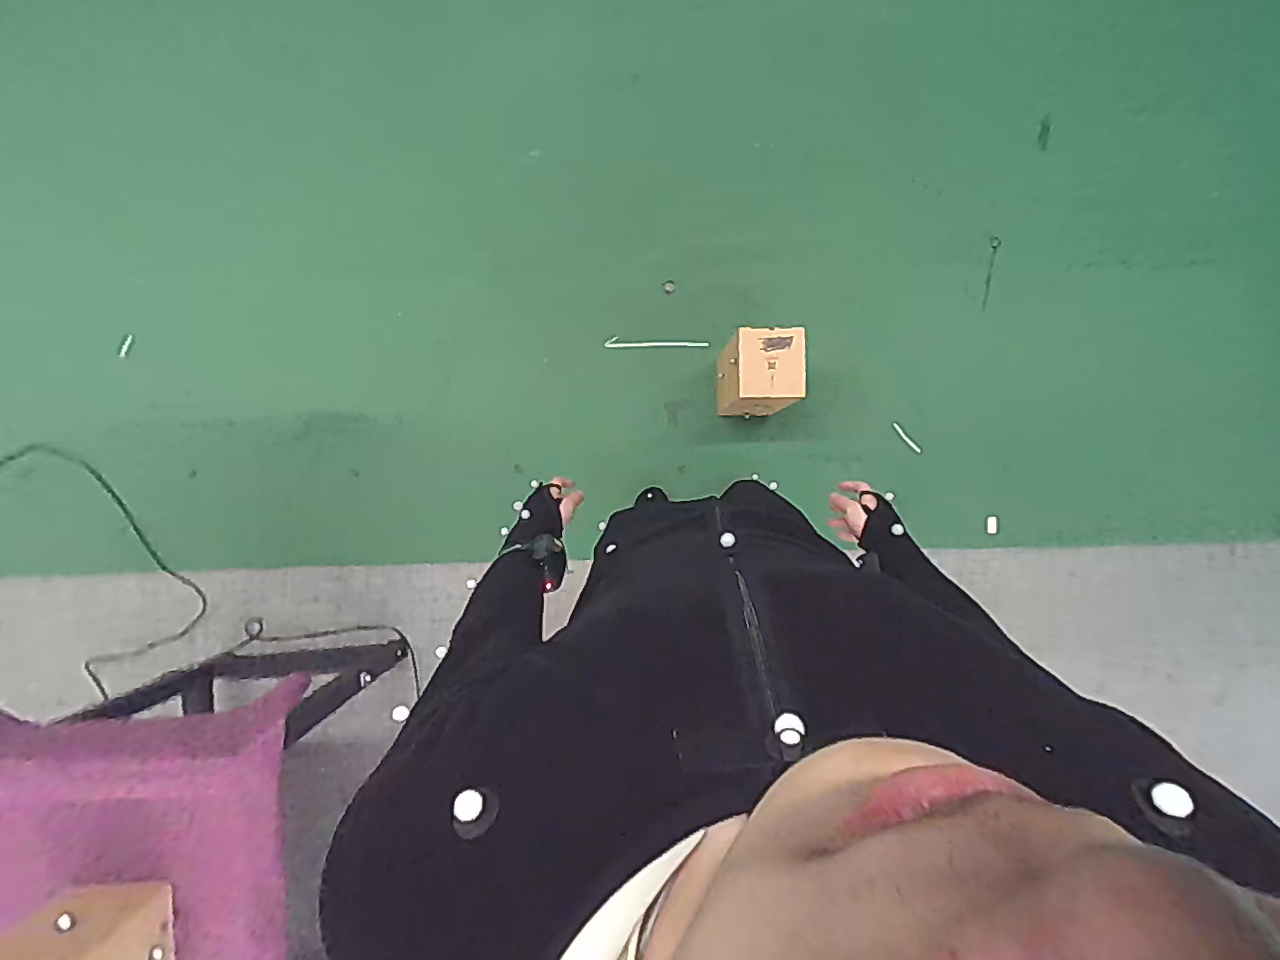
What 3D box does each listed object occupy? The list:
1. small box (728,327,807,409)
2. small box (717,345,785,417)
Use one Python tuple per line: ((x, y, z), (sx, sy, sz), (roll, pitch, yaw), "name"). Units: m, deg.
((0.323, -0.285, 1.400), (0.168, 0.176, 0.179), (0, 90, -1), "small box")
((0.317, -0.282, 1.564), (0.168, 0.176, 0.179), (0, 89, -1), "small box")
